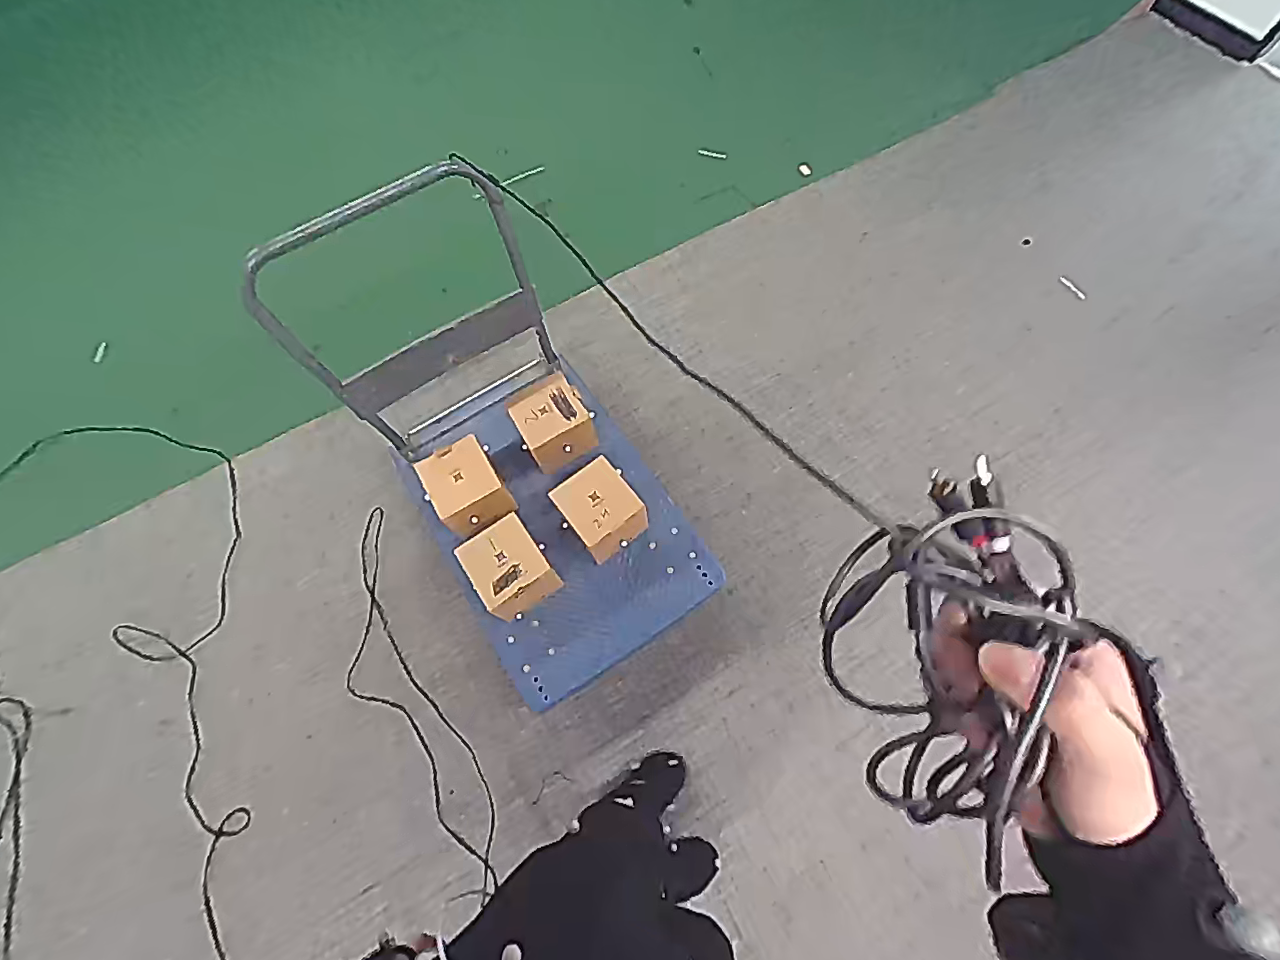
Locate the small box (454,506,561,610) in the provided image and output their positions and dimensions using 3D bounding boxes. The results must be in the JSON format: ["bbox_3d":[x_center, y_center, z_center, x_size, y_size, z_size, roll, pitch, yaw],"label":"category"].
[{"bbox_3d":[-0.311,0.197,1.303,0.168,0.176,0.179,-33,70,-11],"label":"small box"}]

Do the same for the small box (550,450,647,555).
[{"bbox_3d":[-0.099,0.062,1.346,0.168,0.176,0.179,-36,71,-10],"label":"small box"}]

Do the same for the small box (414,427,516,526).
[{"bbox_3d":[-0.440,0.002,1.390,0.168,0.176,0.179,-30,69,-9],"label":"small box"}]
